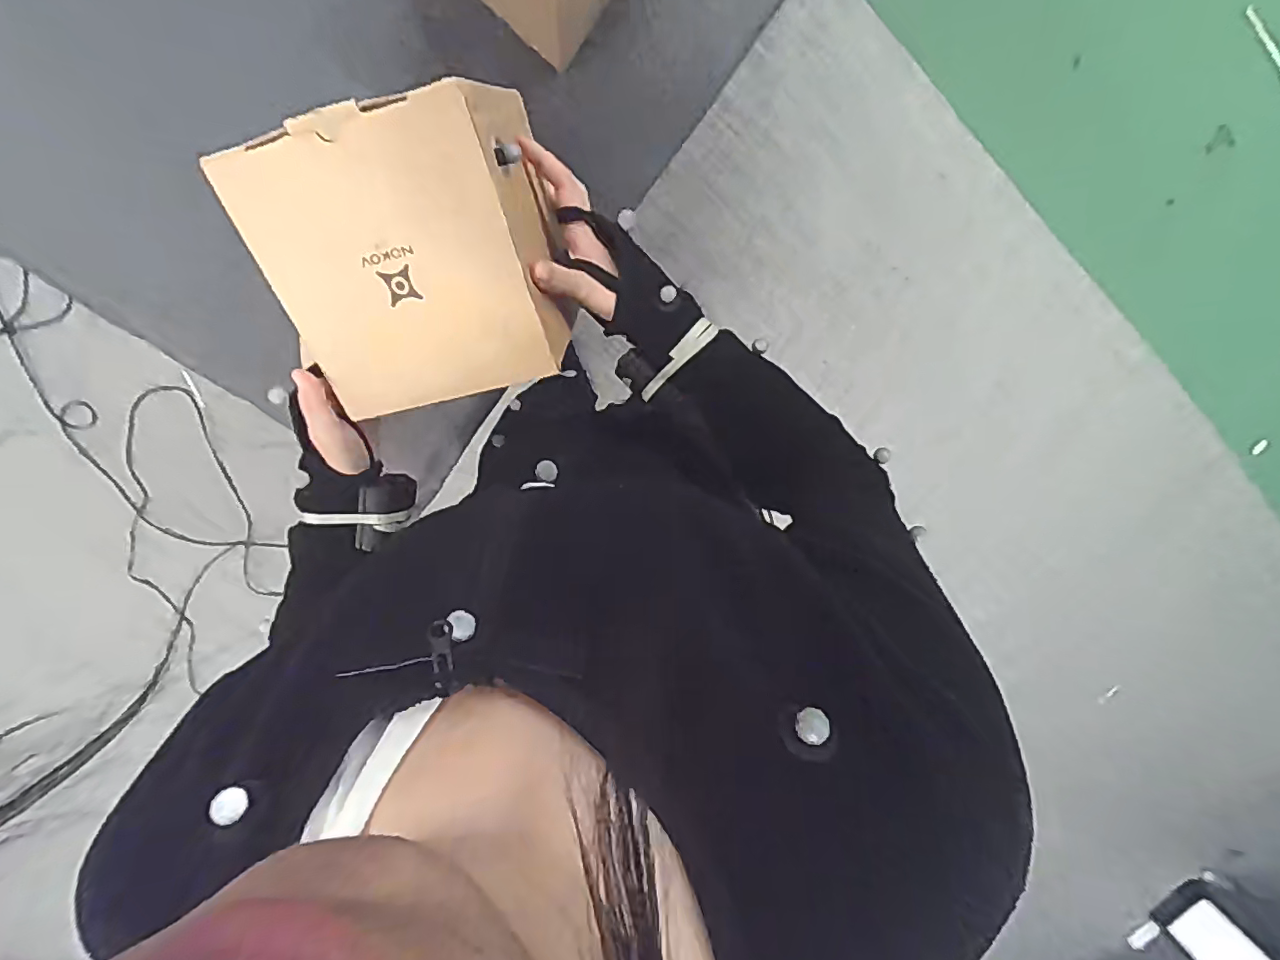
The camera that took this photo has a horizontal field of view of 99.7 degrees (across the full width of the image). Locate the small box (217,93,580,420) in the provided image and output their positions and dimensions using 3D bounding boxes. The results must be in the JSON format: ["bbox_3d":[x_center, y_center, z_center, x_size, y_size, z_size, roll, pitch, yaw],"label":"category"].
[{"bbox_3d":[-0.152,-0.173,0.419,0.168,0.176,0.179,-11,121,7],"label":"small box"}]

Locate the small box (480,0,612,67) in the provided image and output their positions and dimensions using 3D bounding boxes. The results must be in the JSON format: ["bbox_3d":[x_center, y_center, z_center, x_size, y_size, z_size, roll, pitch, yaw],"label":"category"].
[{"bbox_3d":[-0.098,-0.536,0.493,0.179,0.176,0.168,35,102,-17],"label":"small box"}]
